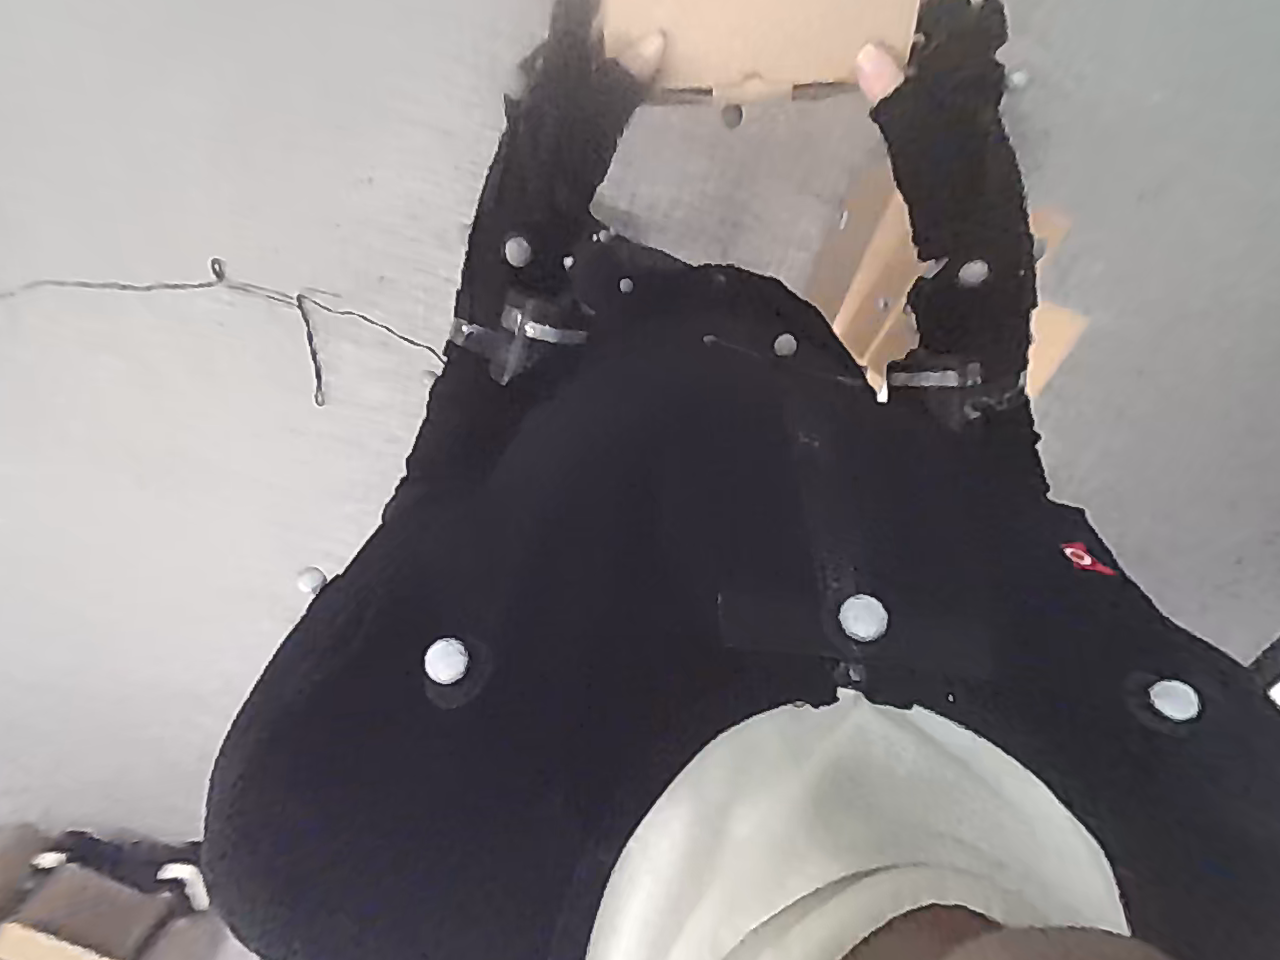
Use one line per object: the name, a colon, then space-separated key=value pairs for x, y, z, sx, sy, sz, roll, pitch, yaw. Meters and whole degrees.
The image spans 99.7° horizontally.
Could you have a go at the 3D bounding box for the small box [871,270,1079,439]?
small box: x=0.470 y=-0.192 z=0.799 sx=0.168 sy=0.176 sz=0.179 roll=23 pitch=114 yaw=-6

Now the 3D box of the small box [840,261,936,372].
small box: x=0.478 y=-0.265 z=0.946 sx=0.168 sy=0.176 sz=0.179 roll=24 pitch=116 yaw=-6
